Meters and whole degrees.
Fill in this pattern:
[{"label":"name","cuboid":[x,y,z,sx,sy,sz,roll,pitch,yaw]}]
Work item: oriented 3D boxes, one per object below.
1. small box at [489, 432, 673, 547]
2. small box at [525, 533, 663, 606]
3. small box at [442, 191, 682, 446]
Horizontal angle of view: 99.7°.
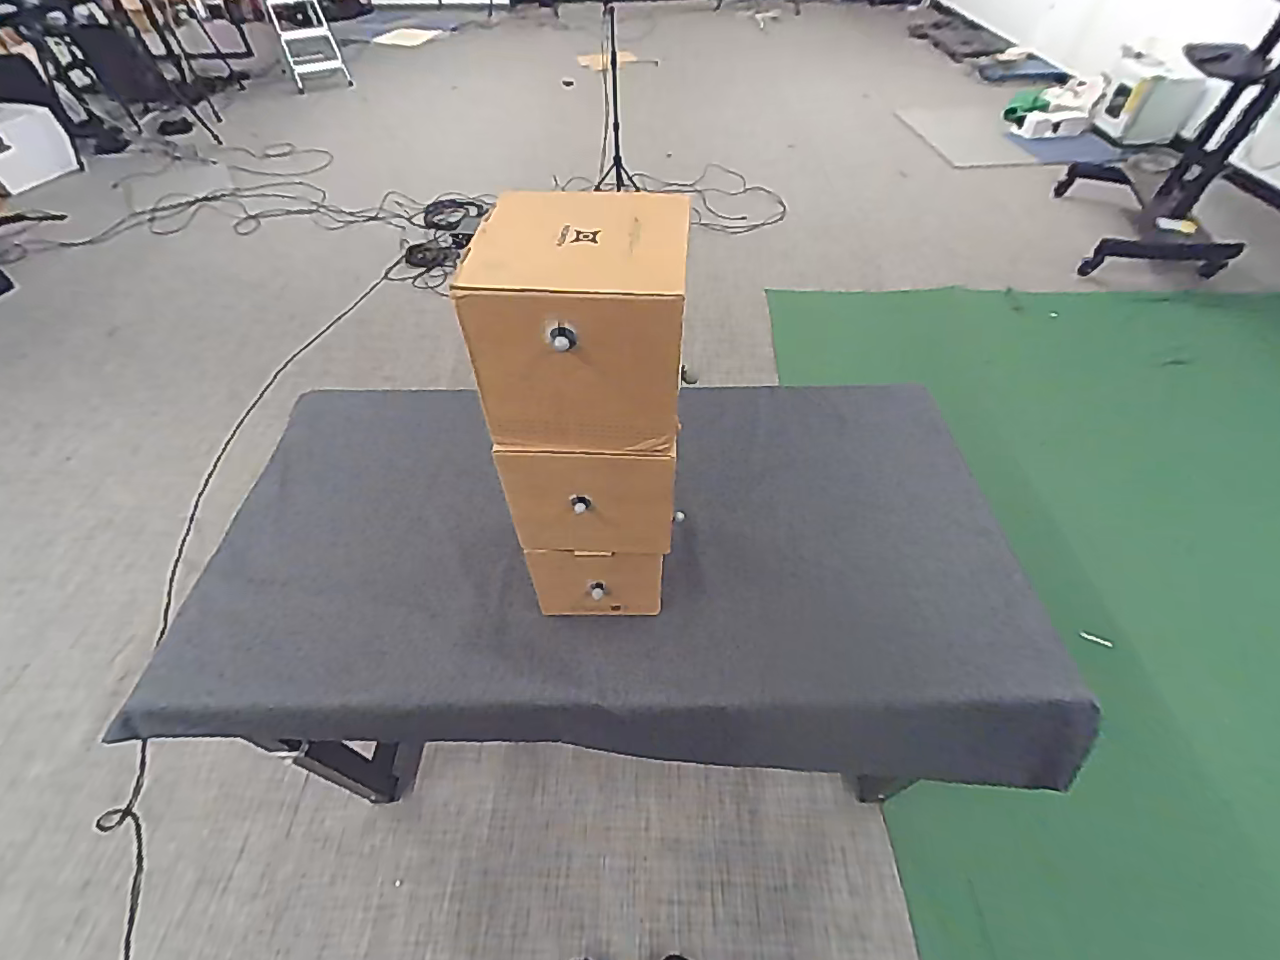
[{"label":"small box","cuboid":[-0.051,-0.035,0.620,0.179,0.176,0.168,0,50,4]},{"label":"small box","cuboid":[-0.053,0.065,0.751,0.168,0.176,0.179,-2,50,1]},{"label":"small box","cuboid":[-0.052,-0.145,0.501,0.179,0.176,0.168,2,51,3]}]
